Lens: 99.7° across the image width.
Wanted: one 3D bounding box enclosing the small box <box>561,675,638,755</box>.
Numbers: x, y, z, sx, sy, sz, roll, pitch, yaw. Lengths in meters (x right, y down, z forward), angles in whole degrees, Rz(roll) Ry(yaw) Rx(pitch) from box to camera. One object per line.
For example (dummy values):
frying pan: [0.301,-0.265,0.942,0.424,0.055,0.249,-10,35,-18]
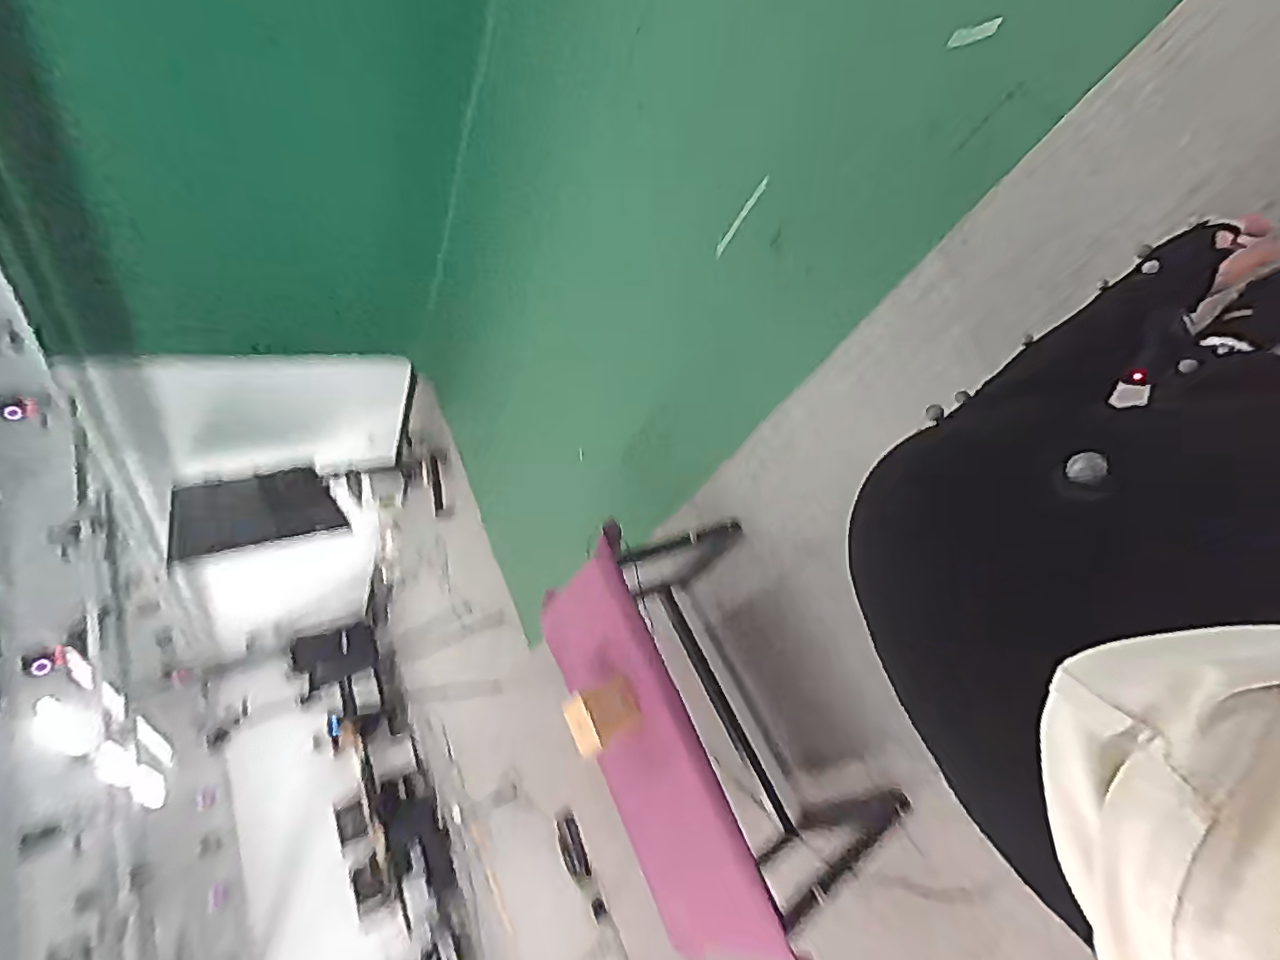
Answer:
small box: [-0.131,0.770,1.778,0.168,0.176,0.179,59,139,23]
